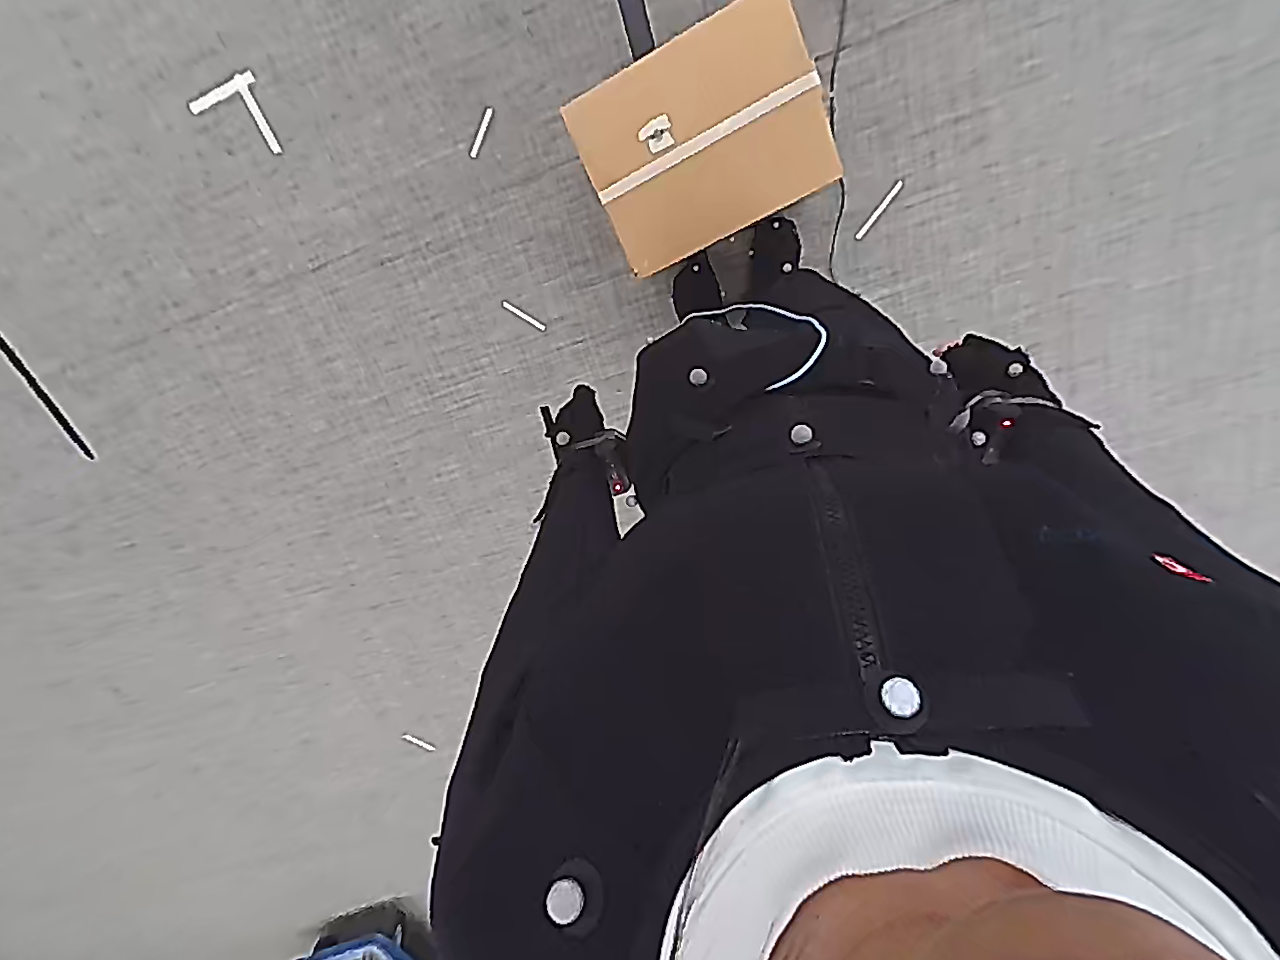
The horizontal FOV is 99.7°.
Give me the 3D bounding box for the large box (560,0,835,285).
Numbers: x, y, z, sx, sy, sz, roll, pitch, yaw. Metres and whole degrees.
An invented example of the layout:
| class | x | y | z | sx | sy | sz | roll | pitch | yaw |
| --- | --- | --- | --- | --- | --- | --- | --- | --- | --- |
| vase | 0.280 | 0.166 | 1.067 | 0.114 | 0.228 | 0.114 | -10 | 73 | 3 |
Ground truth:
| class | x | y | z | sx | sy | sz | roll | pitch | yaw |
| --- | --- | --- | --- | --- | --- | --- | --- | --- | --- |
| large box | 0.112 | -0.635 | 1.074 | 0.408 | 0.320 | 0.320 | -23 | 109 | 14 |
